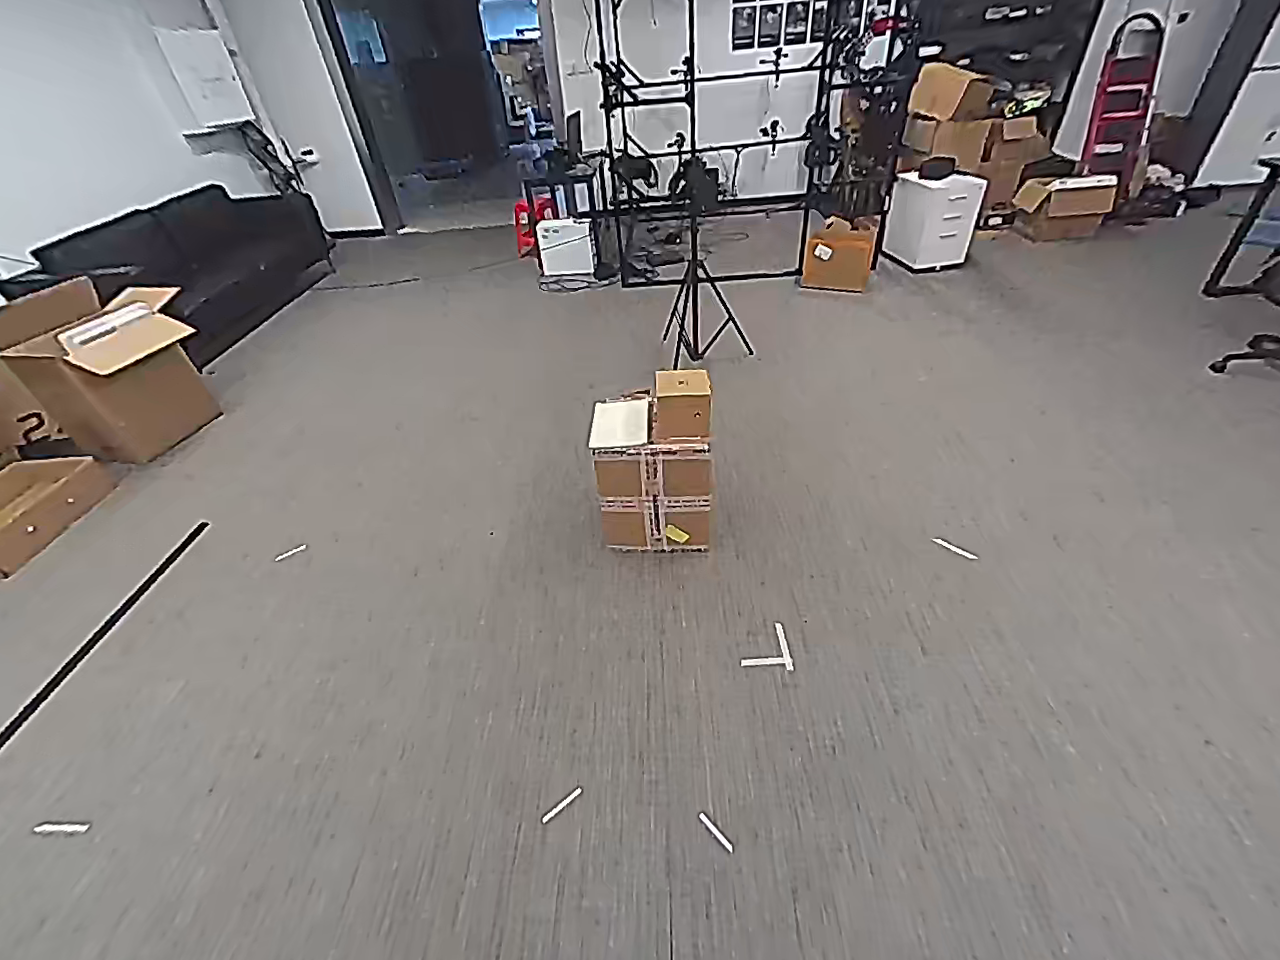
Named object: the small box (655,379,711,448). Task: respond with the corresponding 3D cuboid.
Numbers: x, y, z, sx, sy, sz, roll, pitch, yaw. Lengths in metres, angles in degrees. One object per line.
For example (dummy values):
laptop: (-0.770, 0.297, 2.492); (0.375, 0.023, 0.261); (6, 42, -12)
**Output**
small box: (0.138, -0.220, 1.806); (0.179, 0.176, 0.168); (-3, 40, 2)
